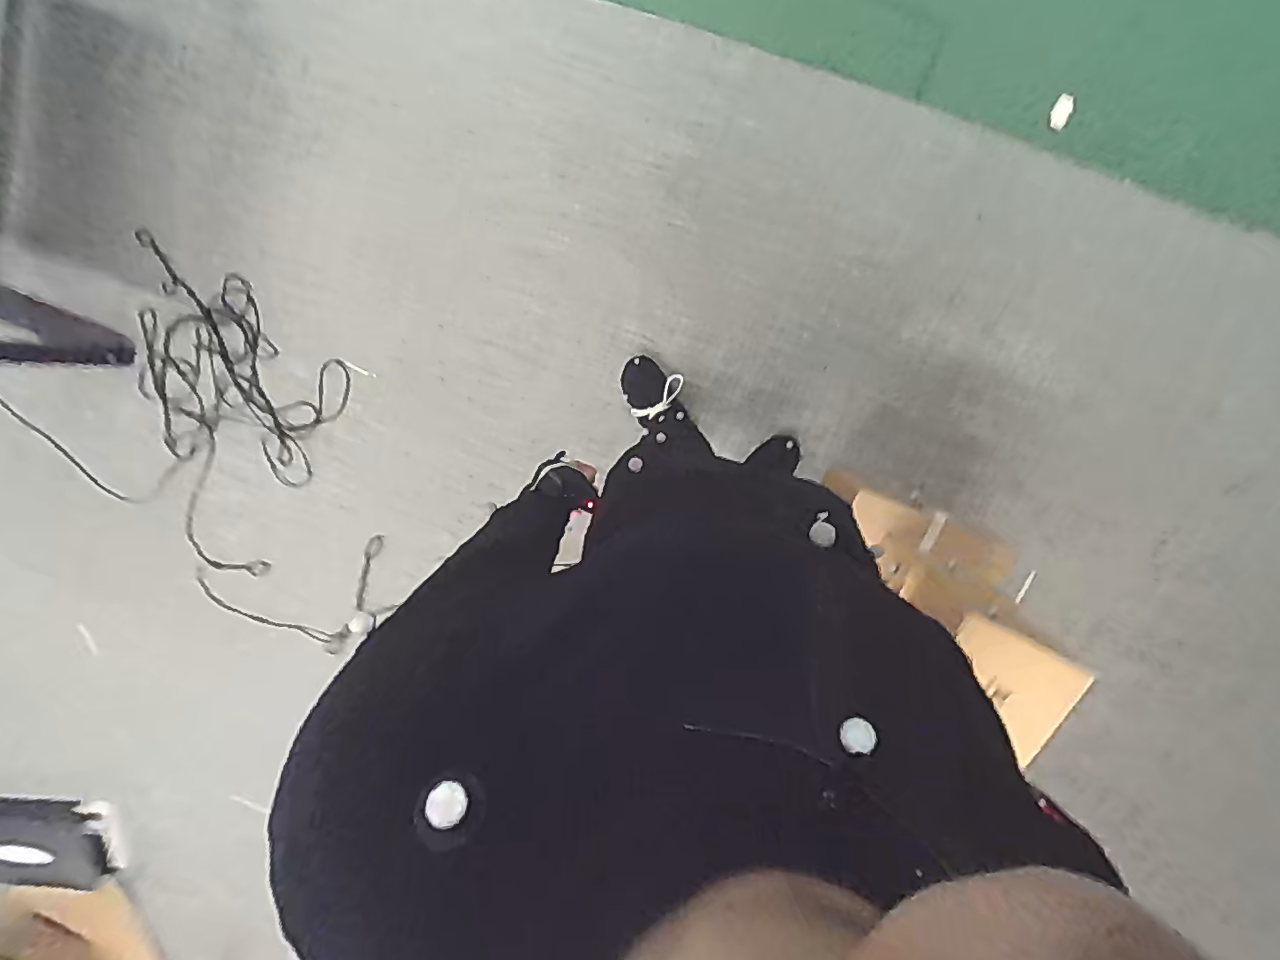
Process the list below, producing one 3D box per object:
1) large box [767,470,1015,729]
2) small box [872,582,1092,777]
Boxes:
[{"bbox_3d":[0.505,0.234,1.186,0.320,0.320,0.408,22,104,6],"label":"large box"},{"bbox_3d":[0.471,0.272,0.779,0.179,0.176,0.168,27,103,4],"label":"small box"}]
